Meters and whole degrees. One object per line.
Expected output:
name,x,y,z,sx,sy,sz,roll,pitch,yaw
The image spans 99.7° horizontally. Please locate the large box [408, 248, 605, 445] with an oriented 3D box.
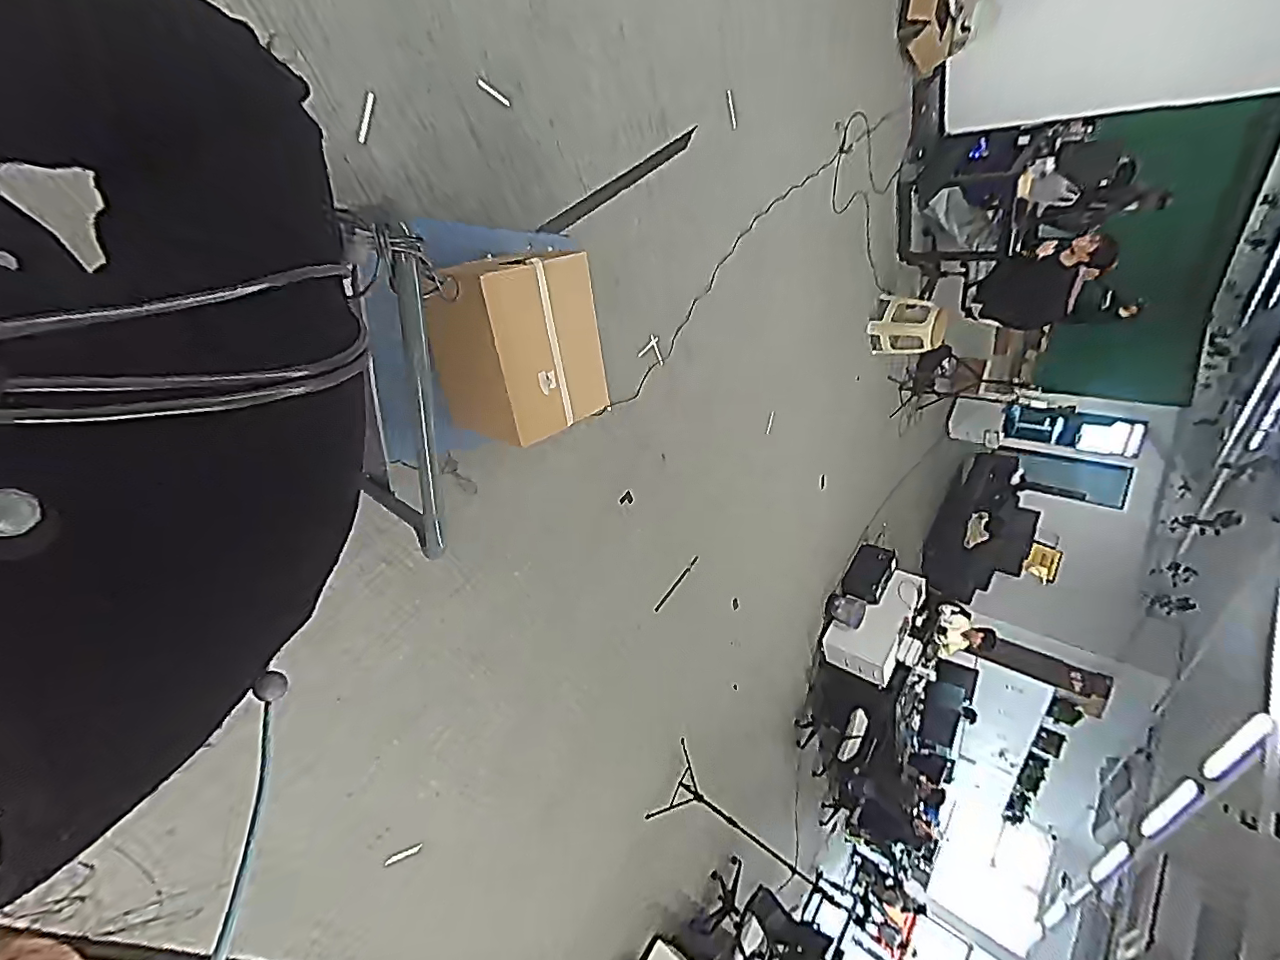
large box,-0.329,-0.356,1.392,0.320,0.320,0.408,-33,128,-38
